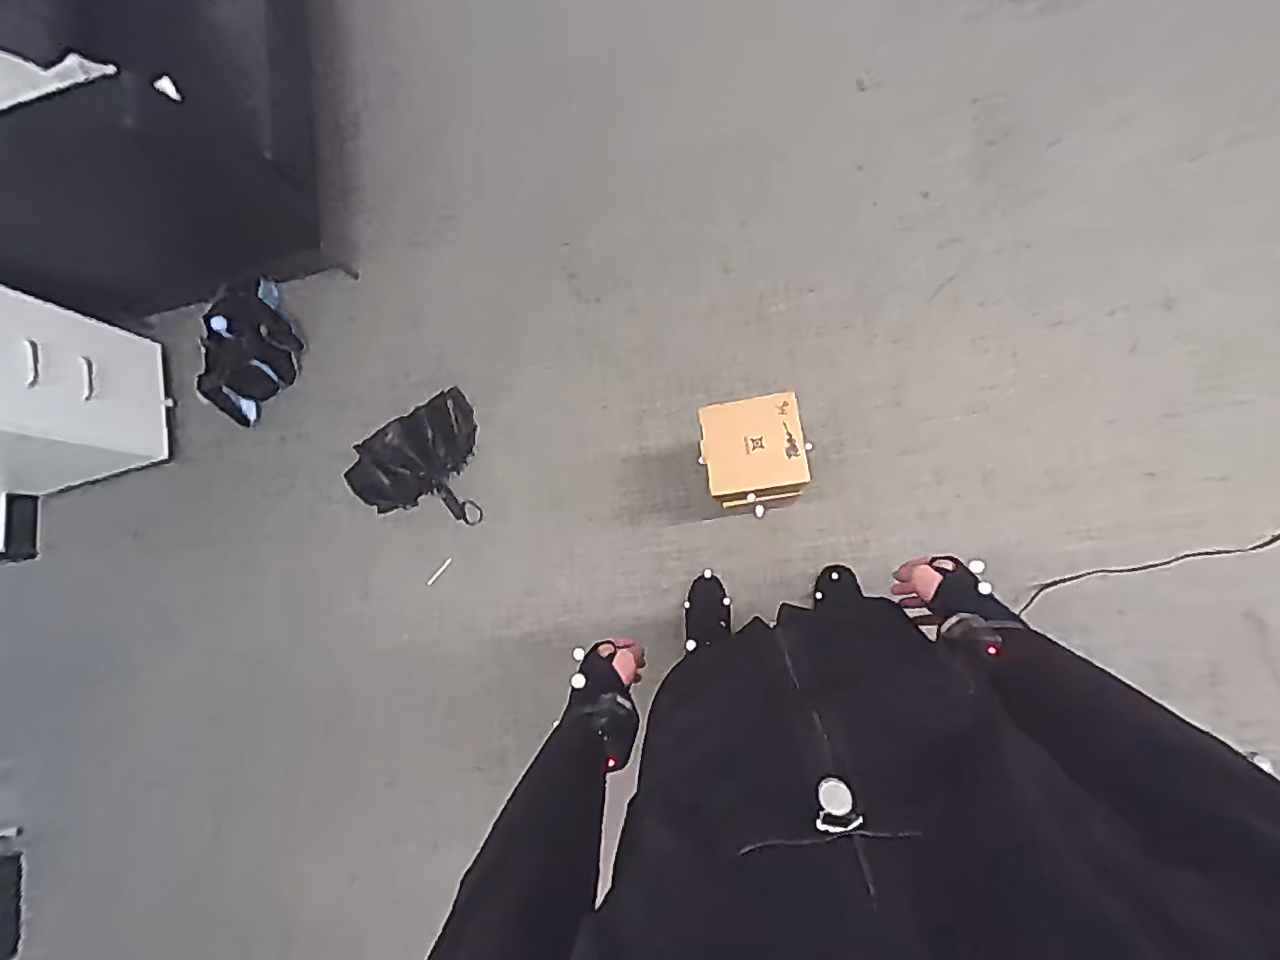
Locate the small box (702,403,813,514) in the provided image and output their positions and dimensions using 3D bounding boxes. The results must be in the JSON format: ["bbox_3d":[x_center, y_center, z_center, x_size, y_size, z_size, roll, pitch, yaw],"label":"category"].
[{"bbox_3d":[0.224,-0.031,1.034,0.179,0.176,0.168,-10,80,11],"label":"small box"}]

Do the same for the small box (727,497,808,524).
[{"bbox_3d":[0.263,-0.006,1.191,0.168,0.176,0.179,-12,80,11],"label":"small box"}]
